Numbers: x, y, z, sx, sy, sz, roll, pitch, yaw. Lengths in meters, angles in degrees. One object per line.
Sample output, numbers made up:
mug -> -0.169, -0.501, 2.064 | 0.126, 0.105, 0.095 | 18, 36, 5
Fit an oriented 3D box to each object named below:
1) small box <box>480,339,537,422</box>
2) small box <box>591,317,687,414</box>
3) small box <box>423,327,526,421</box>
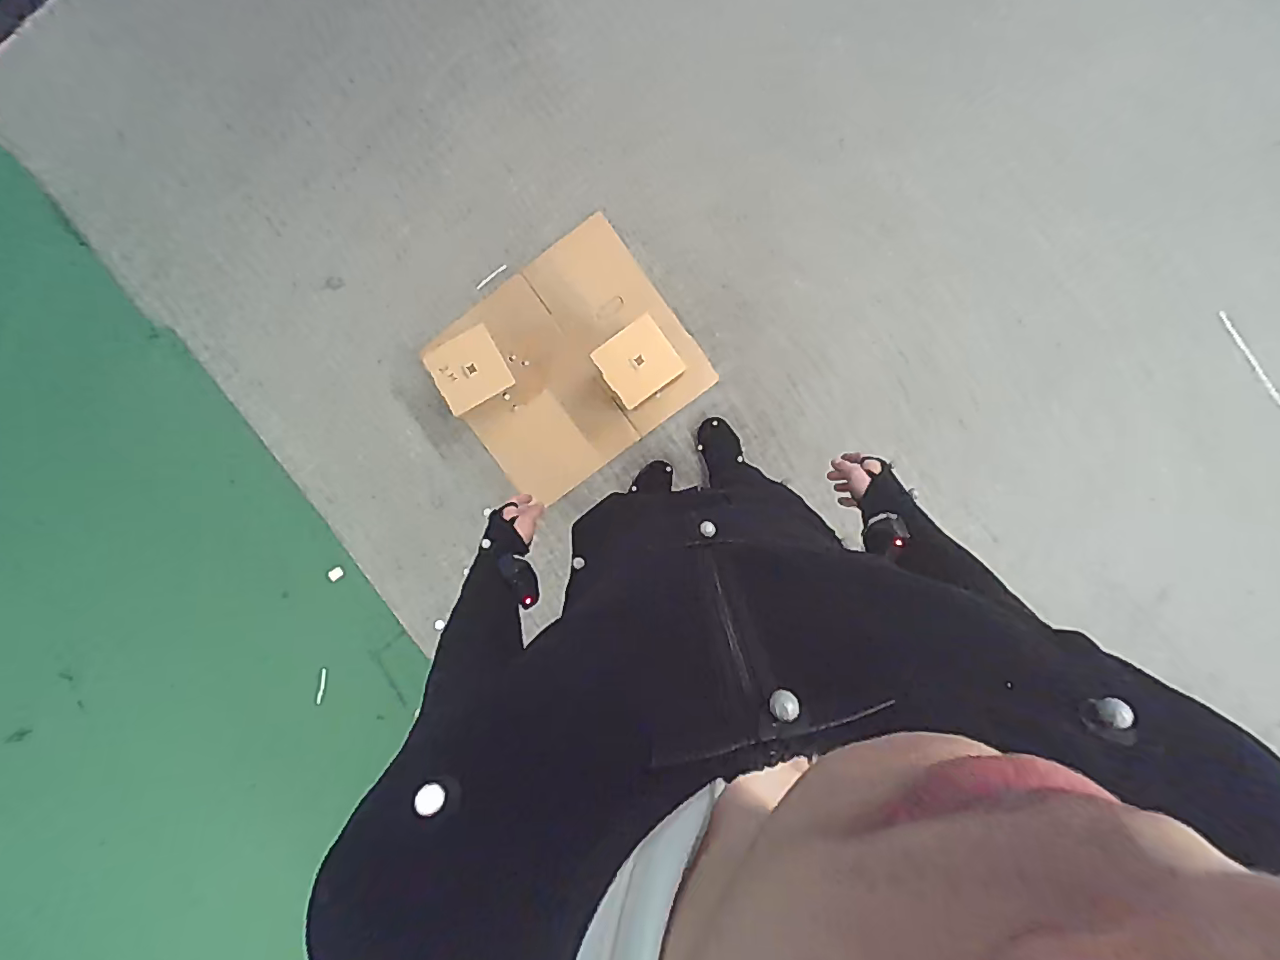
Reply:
small box -> -0.408, -0.277, 1.533 | 0.179, 0.176, 0.168 | -28, 93, 3
small box -> -0.003, -0.282, 1.362 | 0.179, 0.176, 0.168 | -36, 94, 5
small box -> -0.405, -0.260, 1.367 | 0.179, 0.176, 0.168 | -28, 93, 3
